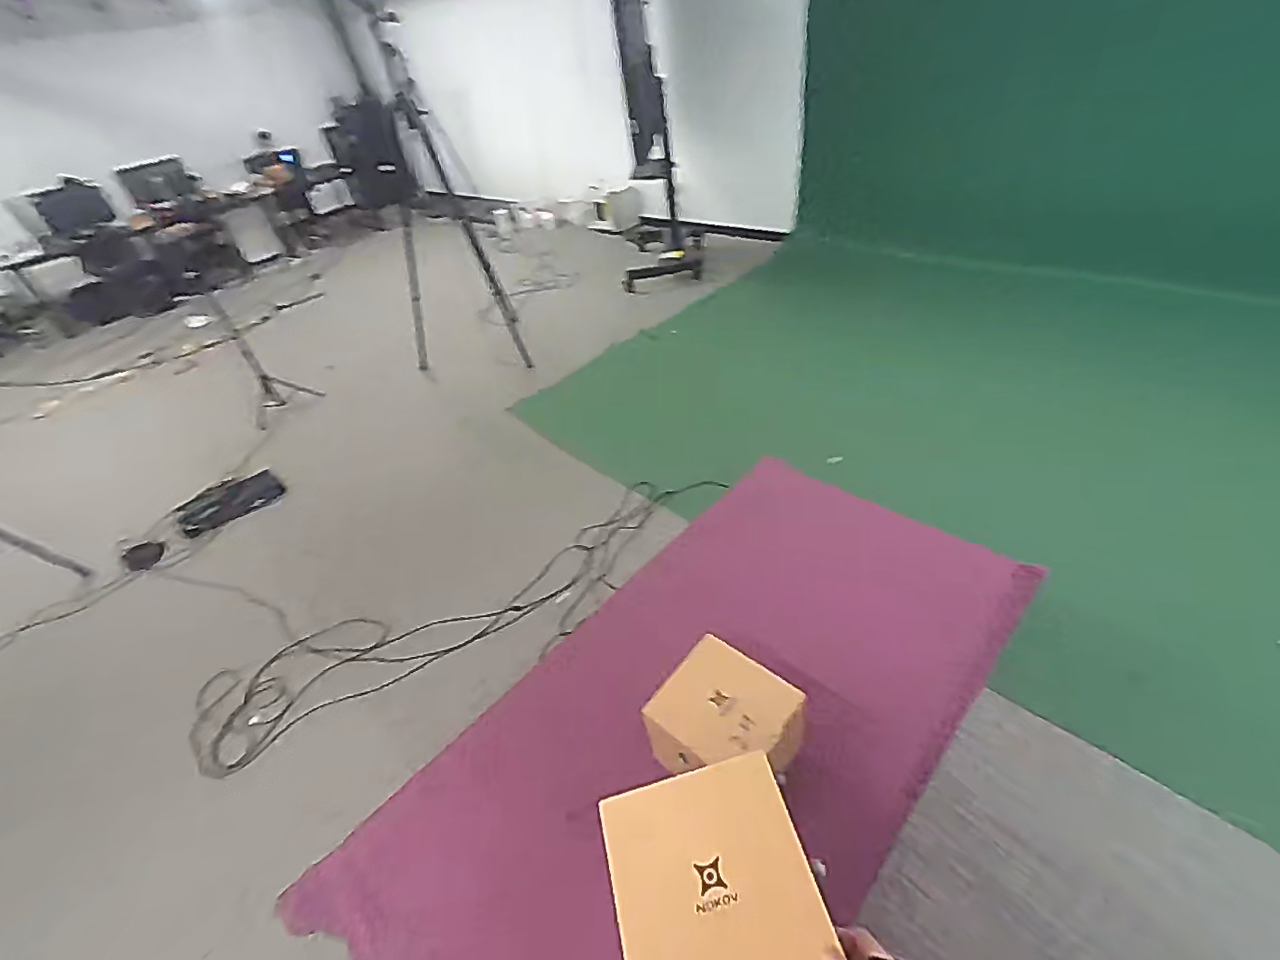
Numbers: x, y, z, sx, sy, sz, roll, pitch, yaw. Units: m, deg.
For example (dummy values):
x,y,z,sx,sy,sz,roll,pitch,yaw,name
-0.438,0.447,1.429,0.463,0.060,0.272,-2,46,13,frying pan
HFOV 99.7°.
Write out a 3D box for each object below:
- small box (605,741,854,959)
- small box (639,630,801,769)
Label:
x,y,z,sx,sy,sz,roll,pitch,yaw,name
0.073,0.380,0.500,0.168,0.176,0.179,-15,44,-3,small box
0.124,0.373,0.826,0.179,0.176,0.168,26,52,36,small box
